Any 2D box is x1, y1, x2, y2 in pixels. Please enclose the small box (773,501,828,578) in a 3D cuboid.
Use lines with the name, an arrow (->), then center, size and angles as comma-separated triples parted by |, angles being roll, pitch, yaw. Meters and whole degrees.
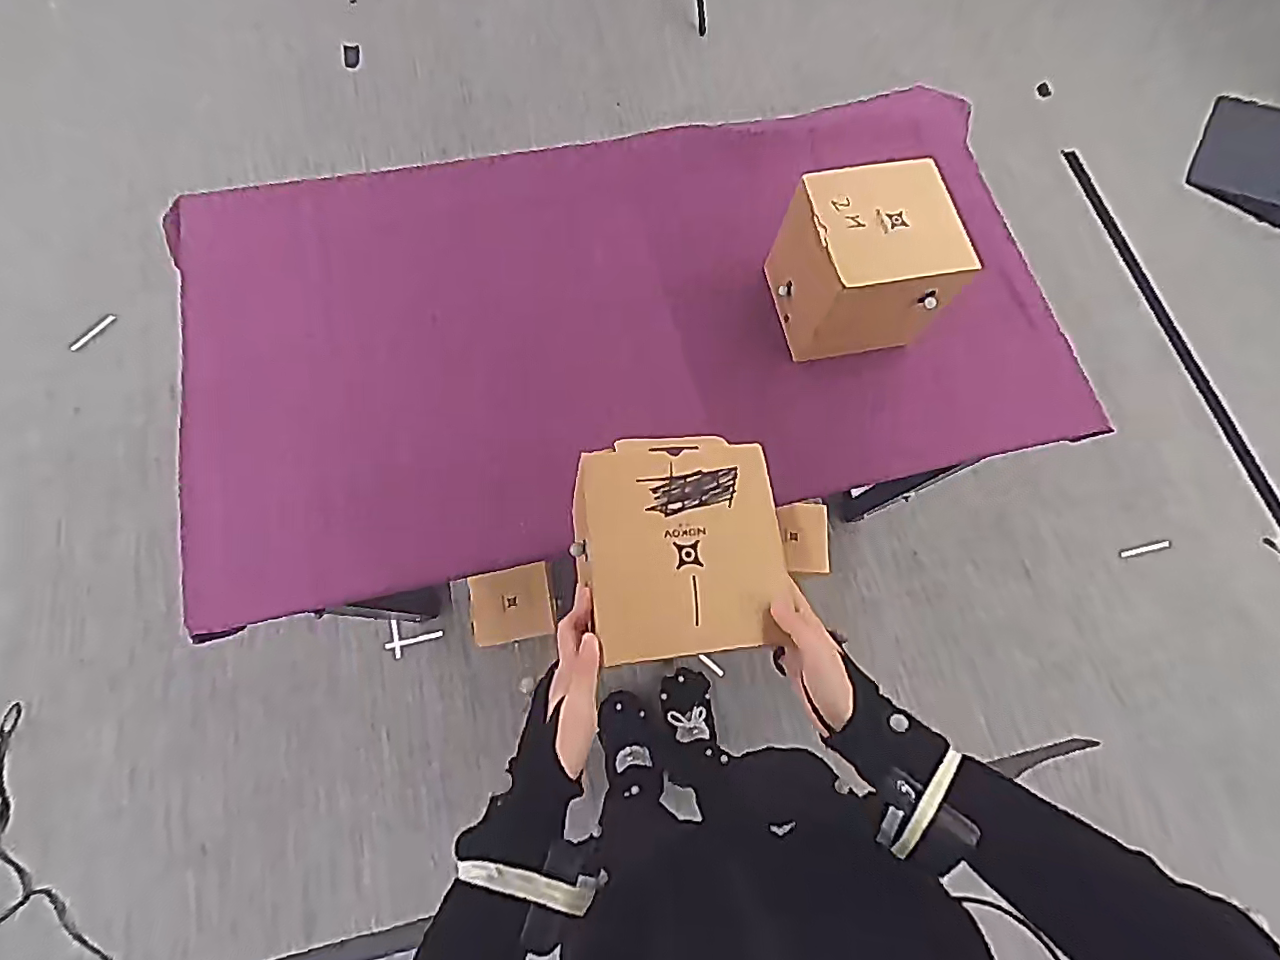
small box -> 0.352, 0.152, 1.348 | 0.179, 0.176, 0.168 | 4, 74, -1

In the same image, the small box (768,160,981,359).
small box -> 0.289, -0.278, 0.708 | 0.179, 0.176, 0.168 | -10, 74, -6

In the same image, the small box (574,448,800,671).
small box -> 0.027, 0.083, 0.520 | 0.168, 0.176, 0.179 | -4, 72, -10
